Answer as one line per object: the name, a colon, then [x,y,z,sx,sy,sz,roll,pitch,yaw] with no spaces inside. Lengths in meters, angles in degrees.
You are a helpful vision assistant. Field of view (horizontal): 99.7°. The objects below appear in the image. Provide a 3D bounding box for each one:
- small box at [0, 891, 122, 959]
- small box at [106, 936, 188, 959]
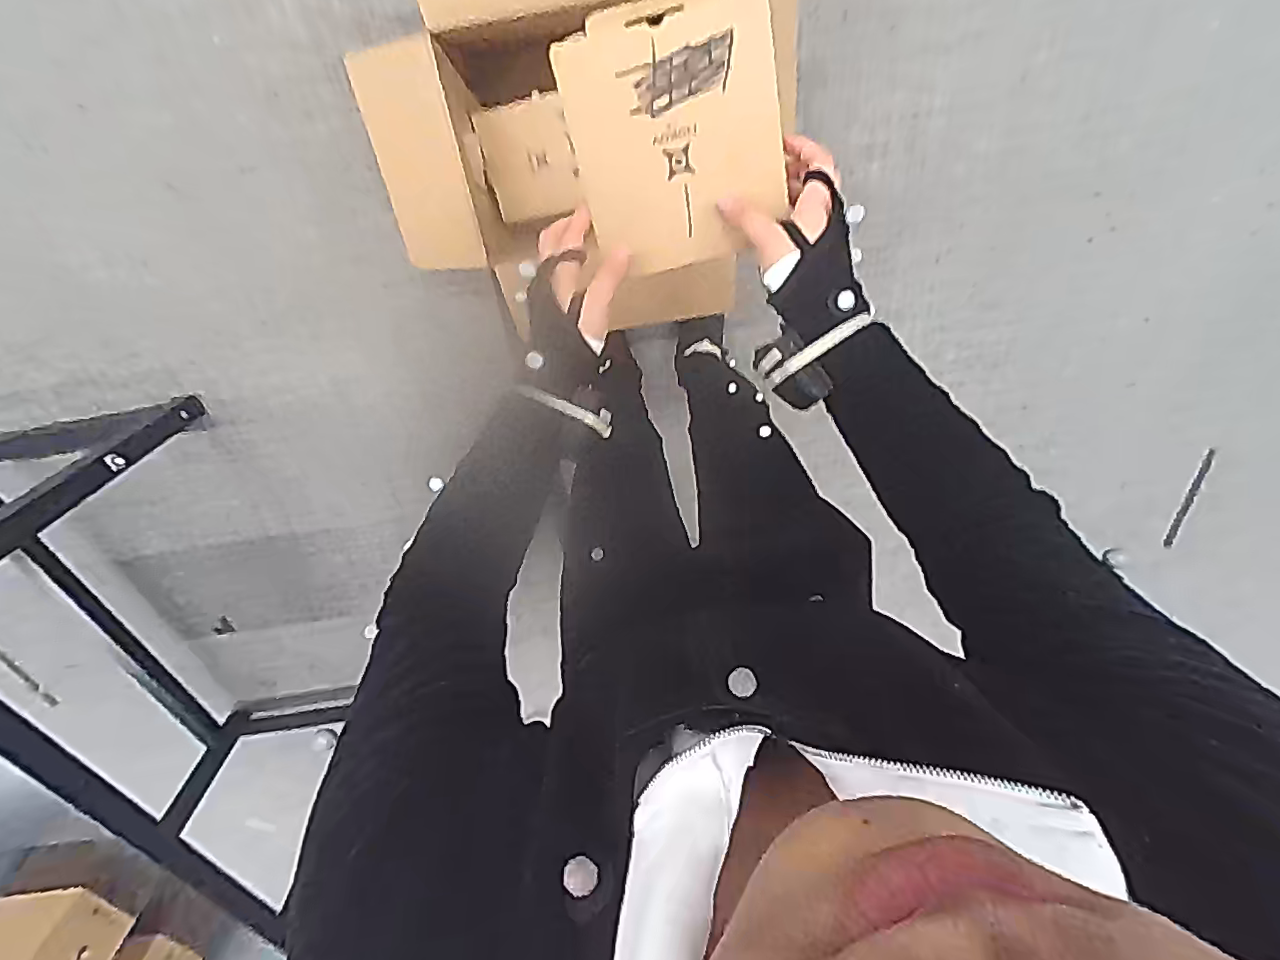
small box: [-1.148,0.907,1.019,0.179,0.176,0.168,-8,122,2]
small box: [-1.116,1.105,1.150,0.179,0.176,0.168,-8,122,3]
